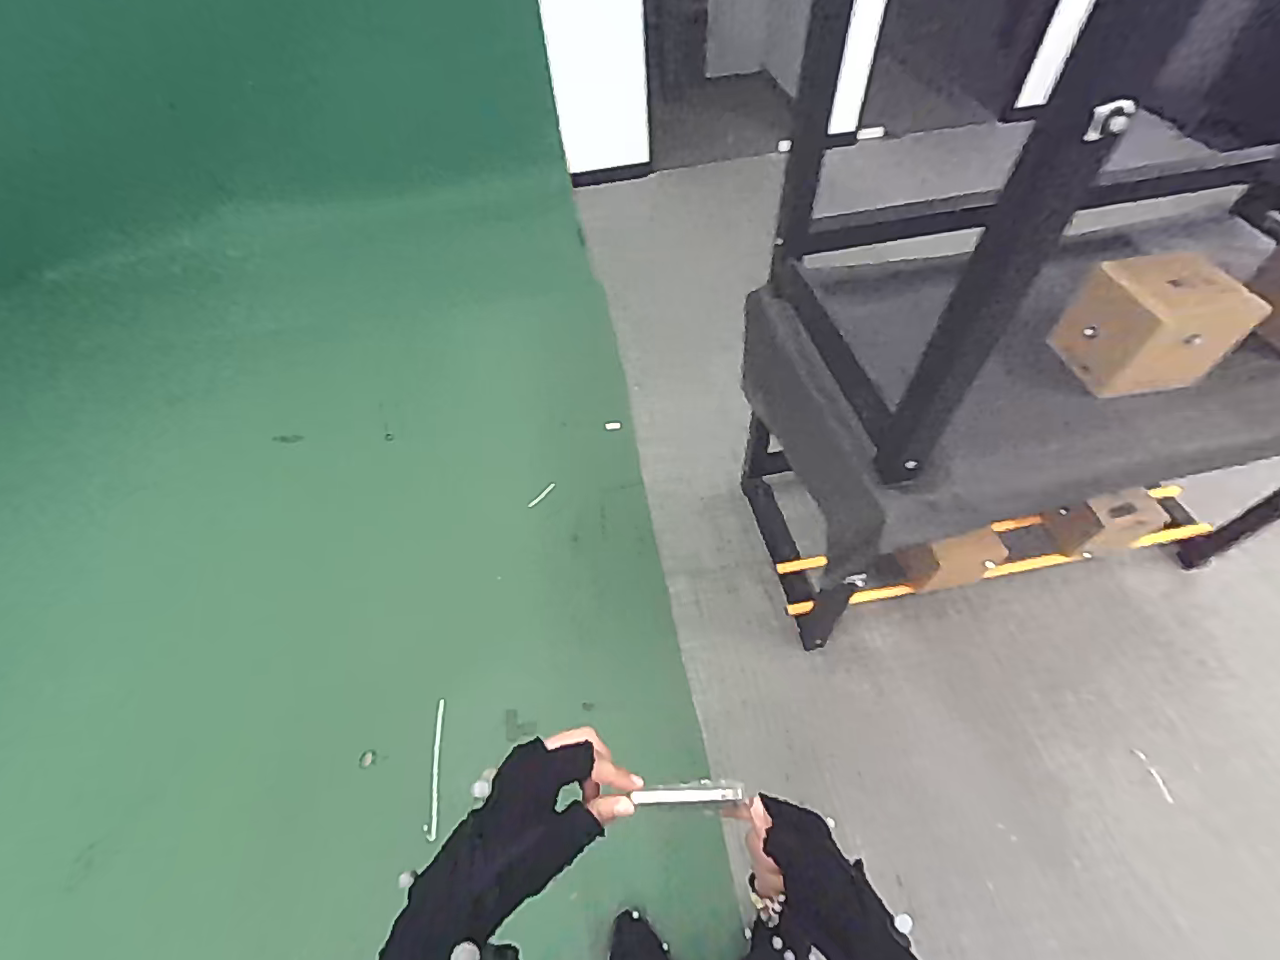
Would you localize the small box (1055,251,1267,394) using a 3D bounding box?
[{"bbox_3d":[0.869,-0.266,0.933,0.179,0.176,0.168,-8,53,-2],"label":"small box"}]

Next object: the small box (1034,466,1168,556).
[{"bbox_3d":[1.198,0.089,1.422,0.168,0.176,0.179,-8,54,-2],"label":"small box"}]
